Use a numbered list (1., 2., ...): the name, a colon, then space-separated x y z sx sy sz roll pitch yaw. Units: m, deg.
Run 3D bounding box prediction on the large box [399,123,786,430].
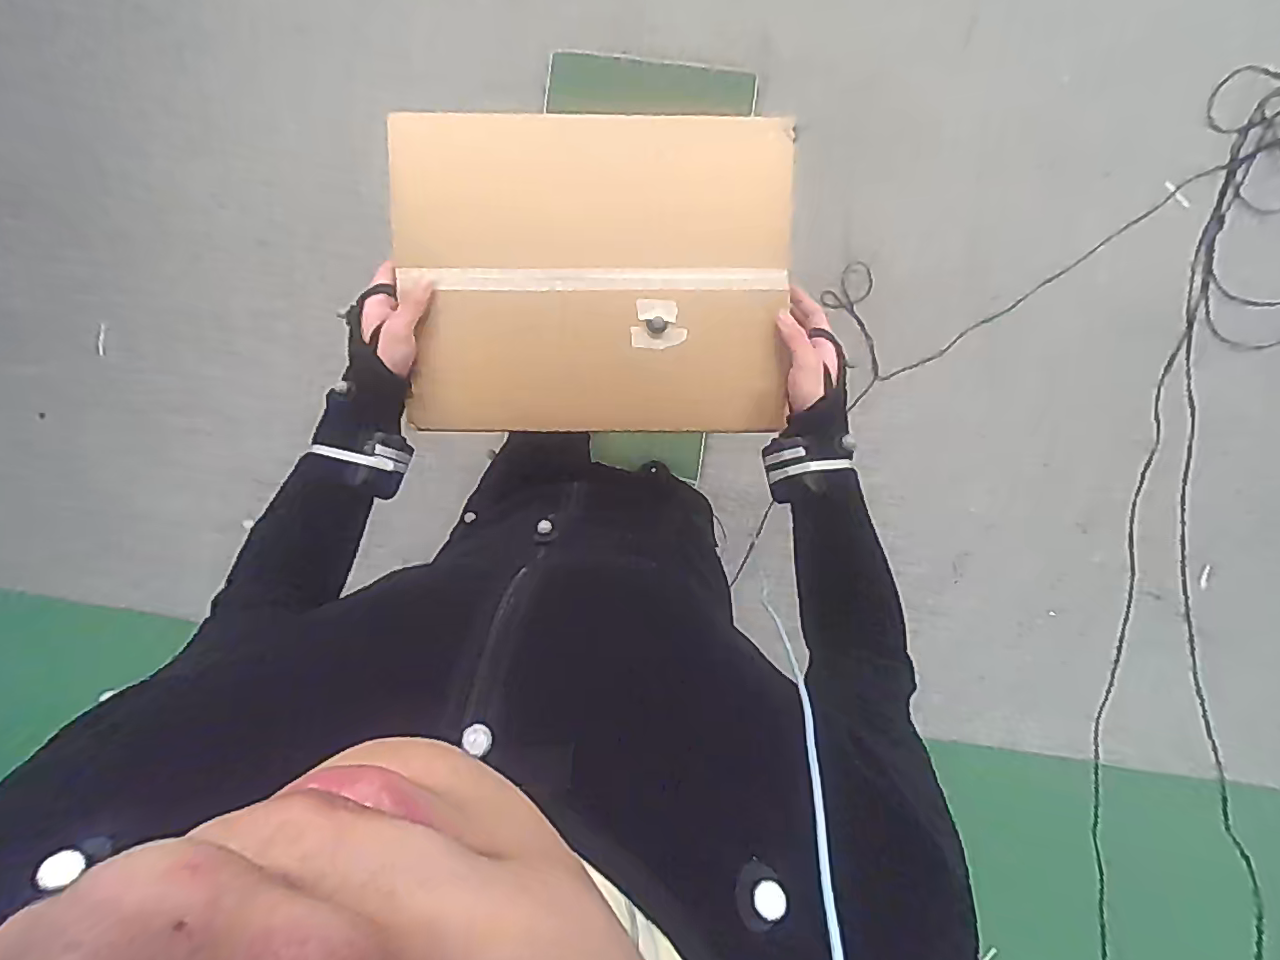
1. large box: -0.051 -0.233 0.720 0.408 0.320 0.320 0 99 -1
